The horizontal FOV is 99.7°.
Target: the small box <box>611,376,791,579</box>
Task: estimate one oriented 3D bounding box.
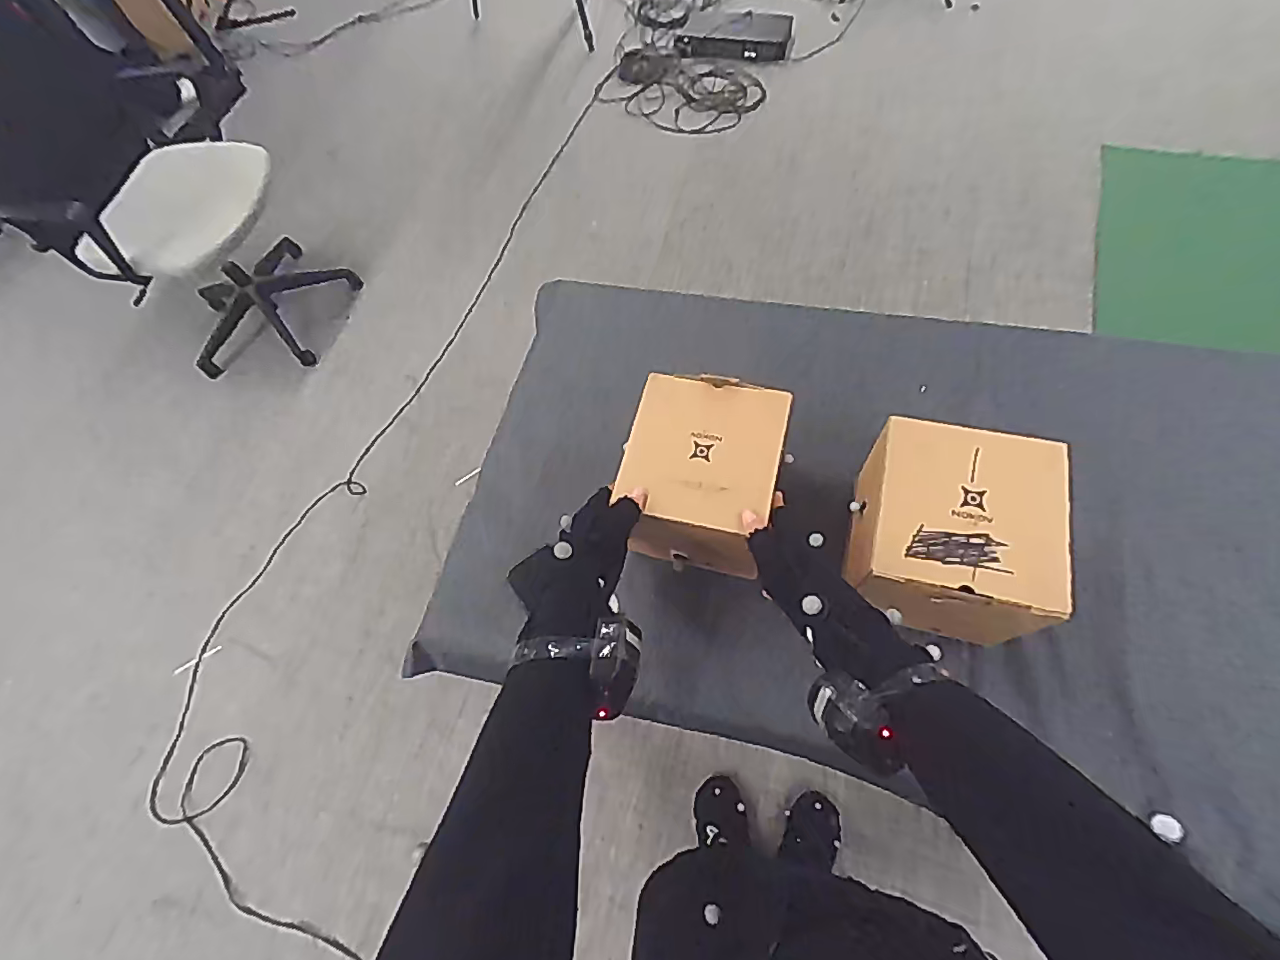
[{"bbox_3d":[0.079,0.002,0.653,0.168,0.176,0.179,10,68,14],"label":"small box"}]

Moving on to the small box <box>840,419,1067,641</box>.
[{"bbox_3d":[0.323,0.062,0.585,0.168,0.176,0.179,12,67,14],"label":"small box"}]
